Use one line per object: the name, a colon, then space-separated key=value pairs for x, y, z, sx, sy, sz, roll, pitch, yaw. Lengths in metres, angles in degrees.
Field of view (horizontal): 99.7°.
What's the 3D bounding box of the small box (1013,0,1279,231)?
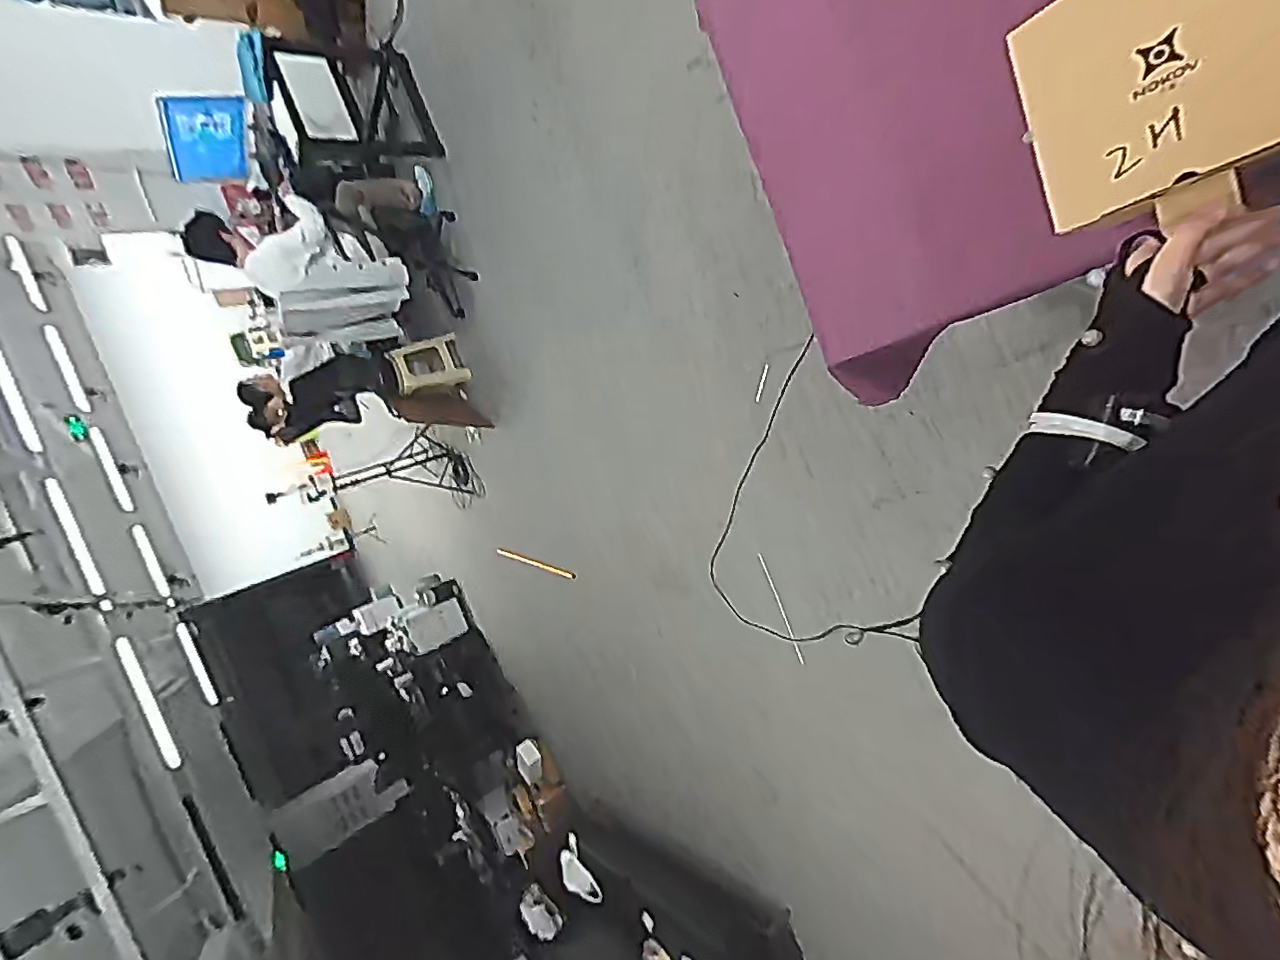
small box: x=0.450 y=-0.331 z=0.449 sx=0.168 sy=0.176 sz=0.179 roll=-11 pitch=99 yaw=55
